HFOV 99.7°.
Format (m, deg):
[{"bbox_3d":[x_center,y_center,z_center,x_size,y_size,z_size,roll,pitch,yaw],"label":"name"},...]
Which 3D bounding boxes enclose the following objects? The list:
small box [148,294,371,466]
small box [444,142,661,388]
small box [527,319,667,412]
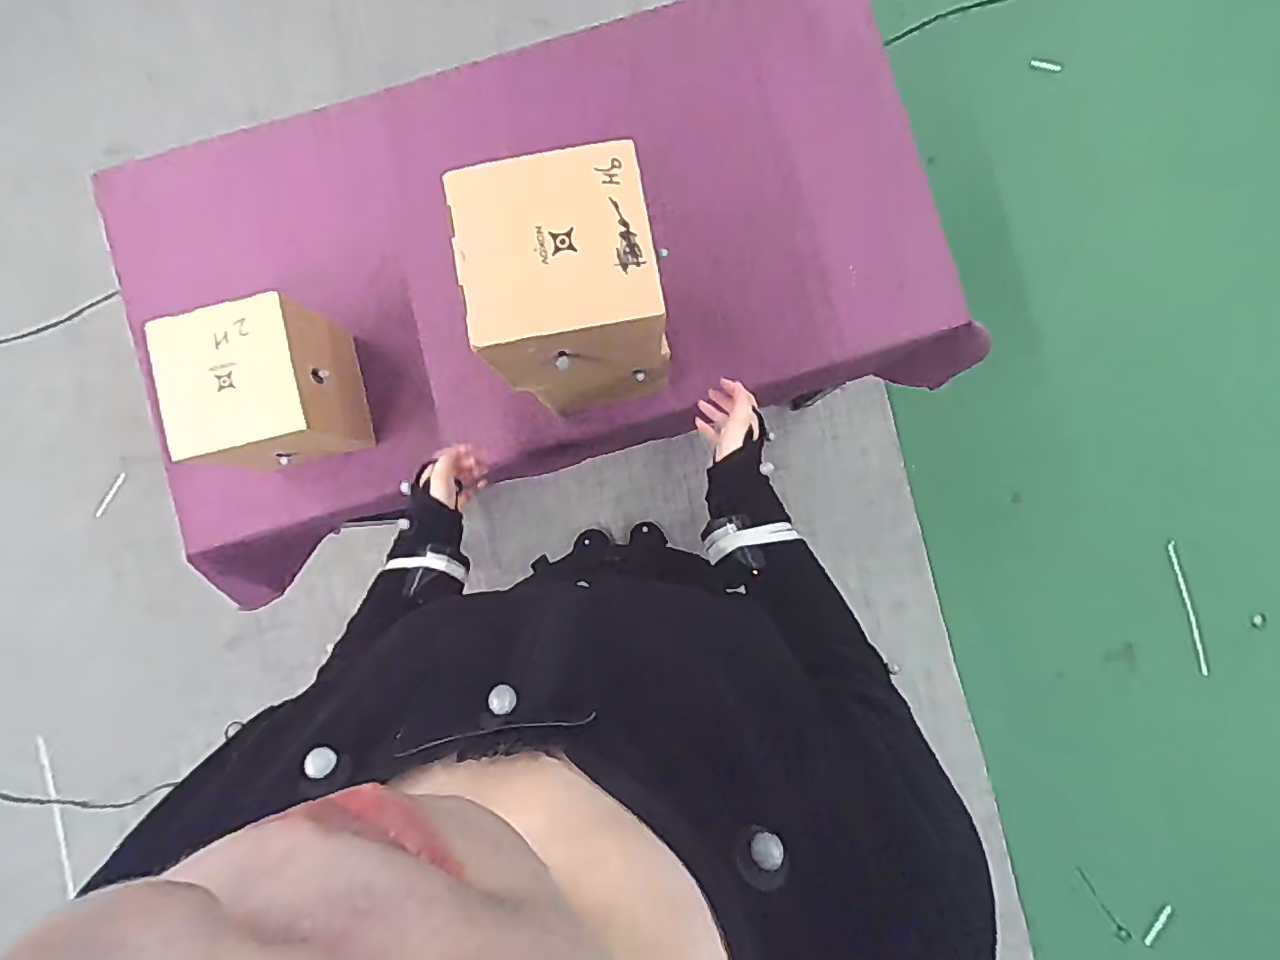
[{"bbox_3d":[-0.488,-0.119,0.721,0.168,0.176,0.179,-13,87,0],"label":"small box"},{"bbox_3d":[-0.076,-0.201,0.556,0.179,0.176,0.168,-10,87,1],"label":"small box"},{"bbox_3d":[-0.068,-0.199,0.720,0.179,0.176,0.168,-15,87,0],"label":"small box"}]
